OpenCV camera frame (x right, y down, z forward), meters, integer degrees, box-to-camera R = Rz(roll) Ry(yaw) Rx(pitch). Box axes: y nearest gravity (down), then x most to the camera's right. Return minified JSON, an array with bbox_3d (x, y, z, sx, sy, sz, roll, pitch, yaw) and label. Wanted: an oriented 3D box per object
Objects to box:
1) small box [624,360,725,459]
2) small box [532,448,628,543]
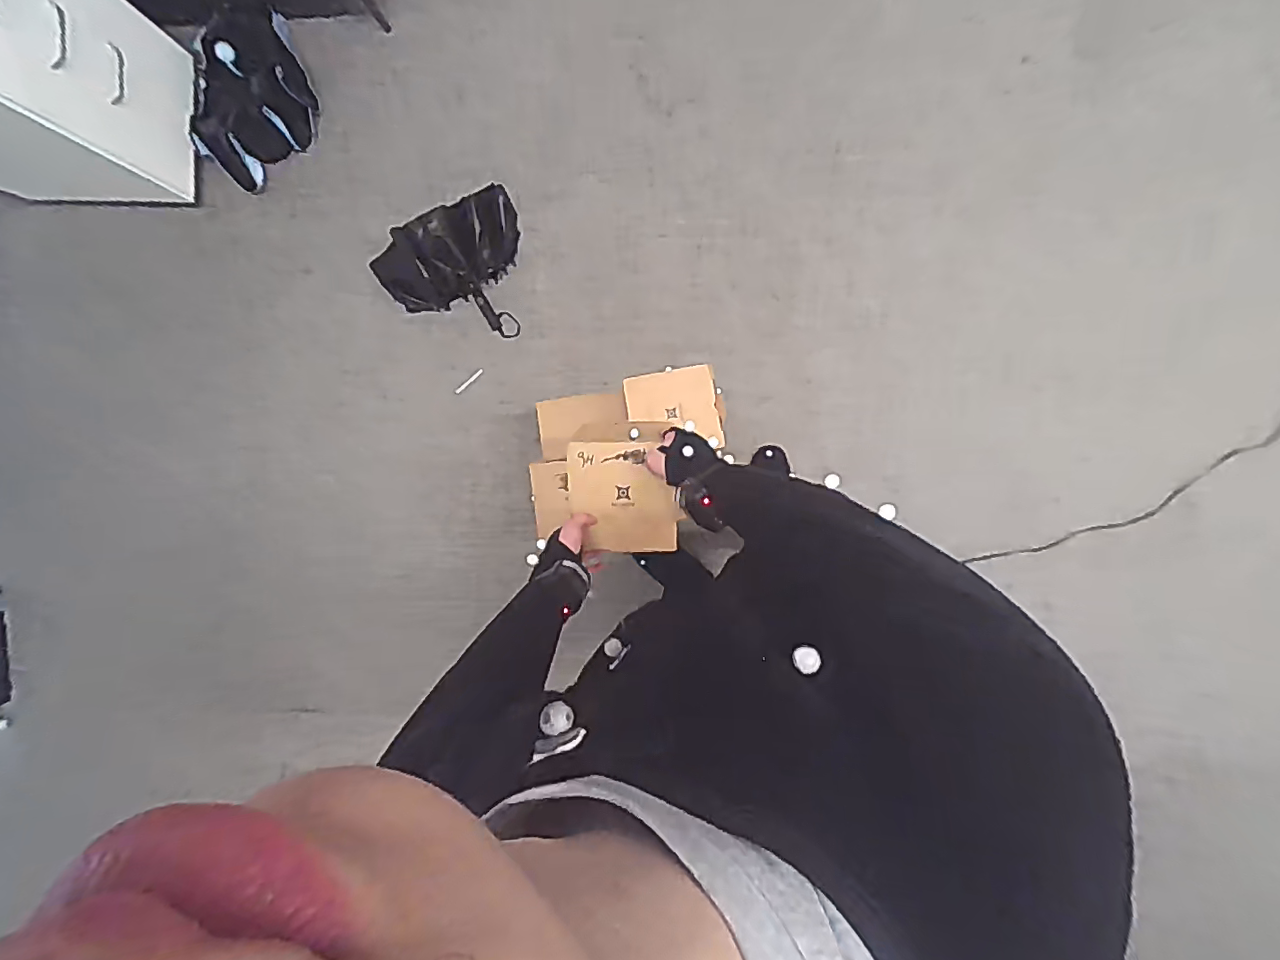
[{"bbox_3d":[0.072,-0.138,1.118,0.179,0.176,0.168,-10,89,5],"label":"small box"},{"bbox_3d":[-0.119,0.025,1.141,0.168,0.176,0.179,-6,96,5],"label":"small box"}]
